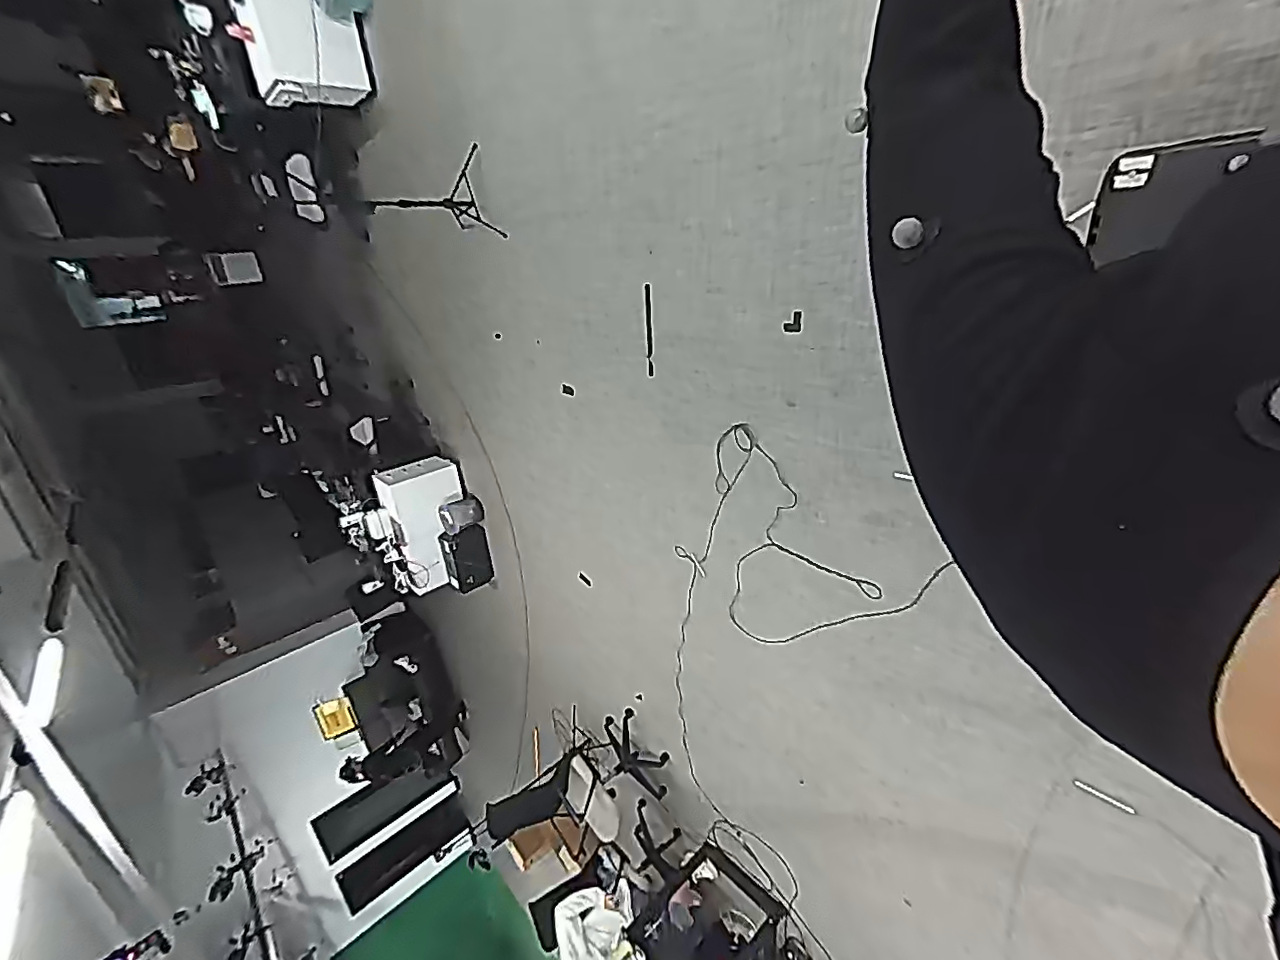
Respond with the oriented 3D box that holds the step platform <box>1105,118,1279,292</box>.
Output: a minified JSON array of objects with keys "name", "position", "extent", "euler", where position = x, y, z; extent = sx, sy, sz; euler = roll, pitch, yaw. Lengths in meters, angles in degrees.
[{"name":"step platform","position":[1.232,-0.475,0.905],"extent":[0.684,0.204,0.286],"euler":[17,121,44]}]
